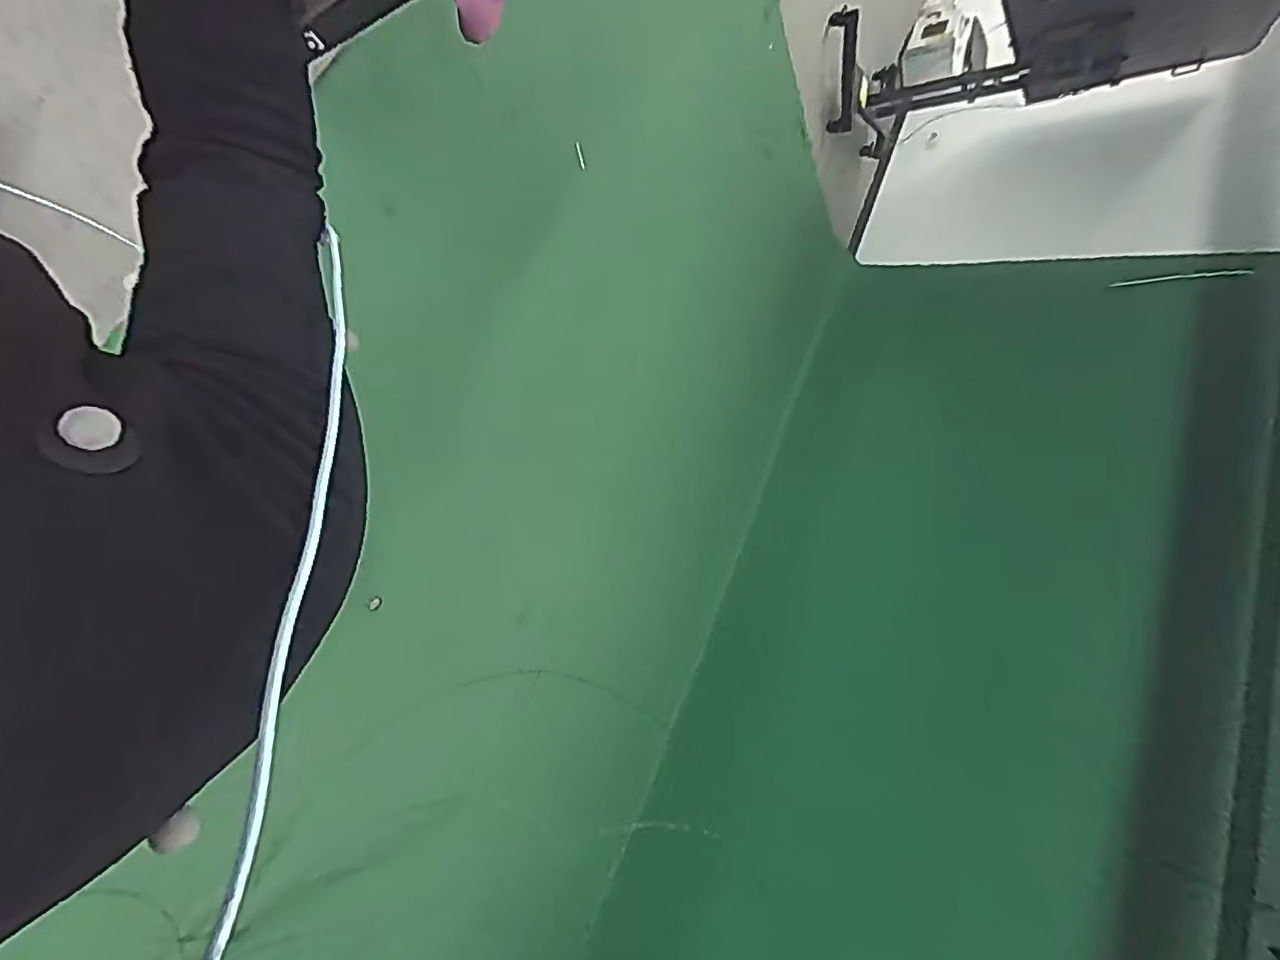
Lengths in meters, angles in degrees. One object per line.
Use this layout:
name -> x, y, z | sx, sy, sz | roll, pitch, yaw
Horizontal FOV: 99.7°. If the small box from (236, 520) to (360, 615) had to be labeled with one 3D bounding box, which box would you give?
small box -> -0.854, 0.213, 1.349 | 0.179, 0.176, 0.168 | 47, 63, -50
